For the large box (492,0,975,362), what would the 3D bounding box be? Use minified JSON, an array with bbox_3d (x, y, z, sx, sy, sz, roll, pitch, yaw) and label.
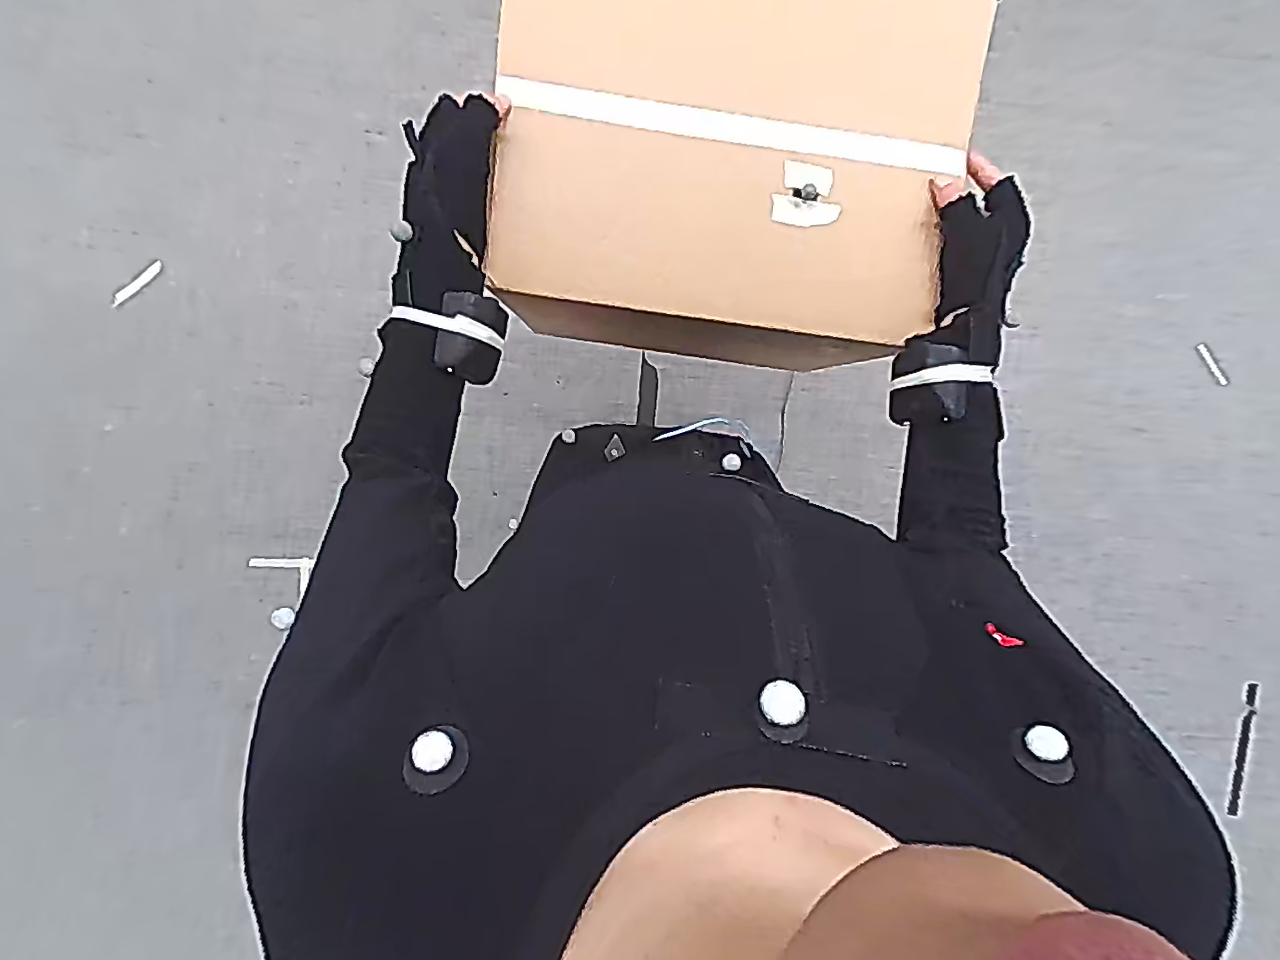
[{"bbox_3d":[0.070,-0.324,0.622,0.408,0.320,0.320,7,99,-4],"label":"large box"}]
